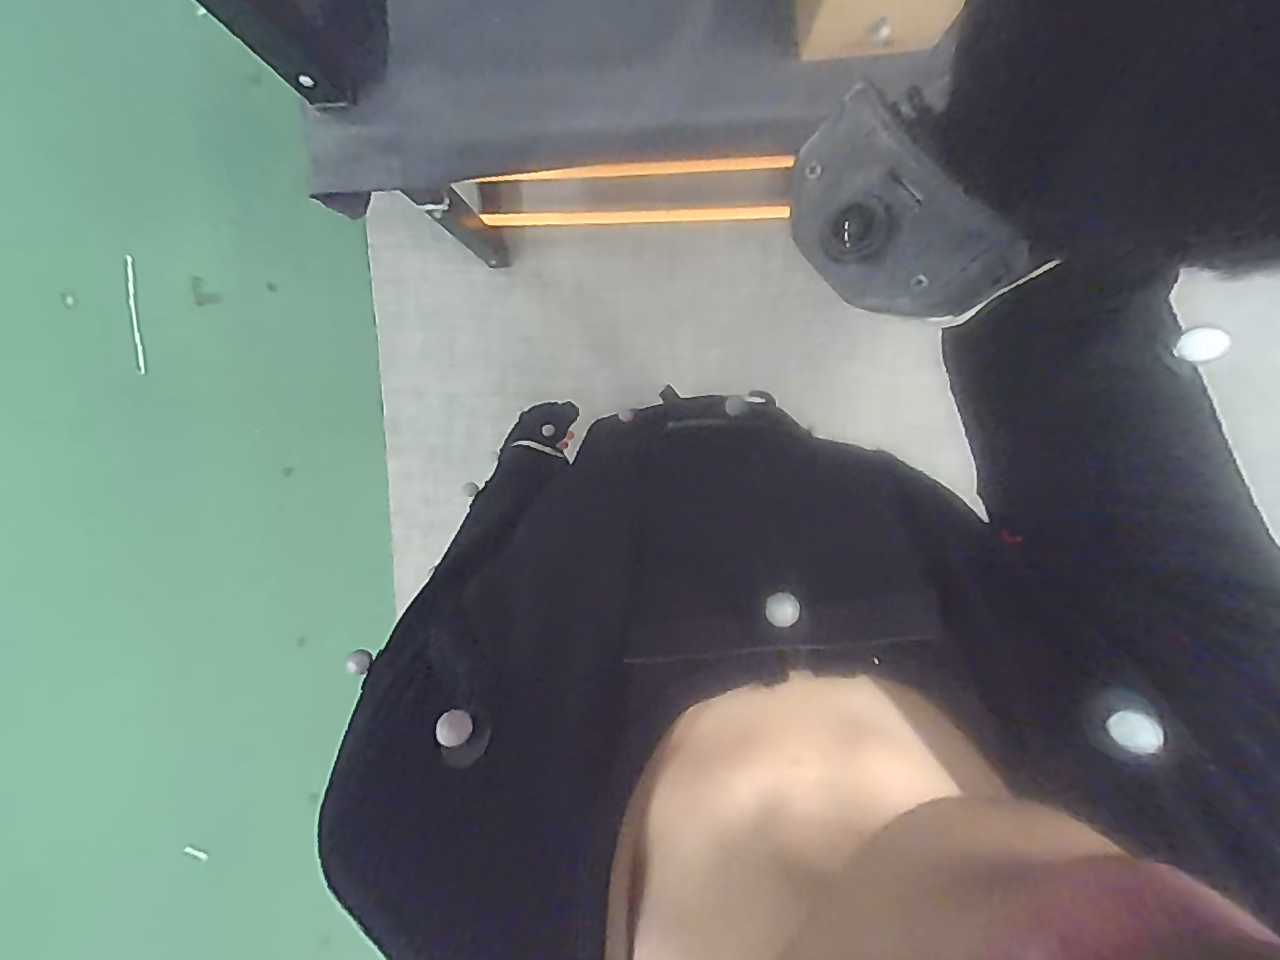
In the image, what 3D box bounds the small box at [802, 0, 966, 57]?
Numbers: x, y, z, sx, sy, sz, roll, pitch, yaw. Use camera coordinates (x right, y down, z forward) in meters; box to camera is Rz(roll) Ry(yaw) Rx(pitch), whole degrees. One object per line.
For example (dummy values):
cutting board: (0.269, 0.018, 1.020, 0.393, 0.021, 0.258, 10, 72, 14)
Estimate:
small box: (0.276, -0.609, 0.584, 0.168, 0.176, 0.179, -4, 96, 2)
